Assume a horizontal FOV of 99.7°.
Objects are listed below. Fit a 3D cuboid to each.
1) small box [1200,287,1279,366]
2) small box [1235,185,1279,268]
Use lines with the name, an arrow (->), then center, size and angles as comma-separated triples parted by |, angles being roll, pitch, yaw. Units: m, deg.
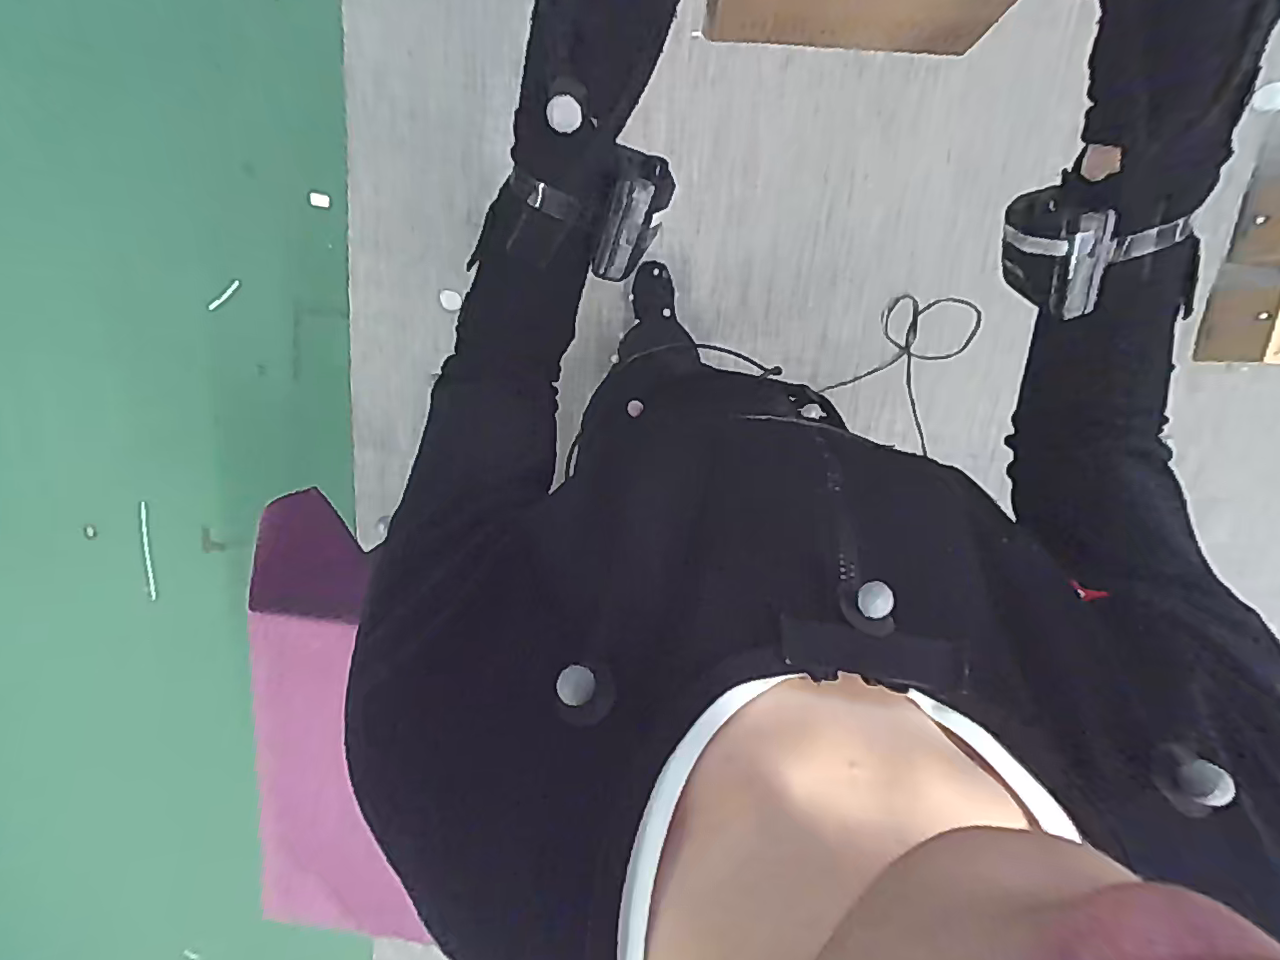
small box -> 1.451, -0.344, 1.222 | 0.179, 0.176, 0.168 | 4, 103, 2
small box -> 1.482, -0.562, 1.170 | 0.179, 0.176, 0.168 | 7, 103, 3
